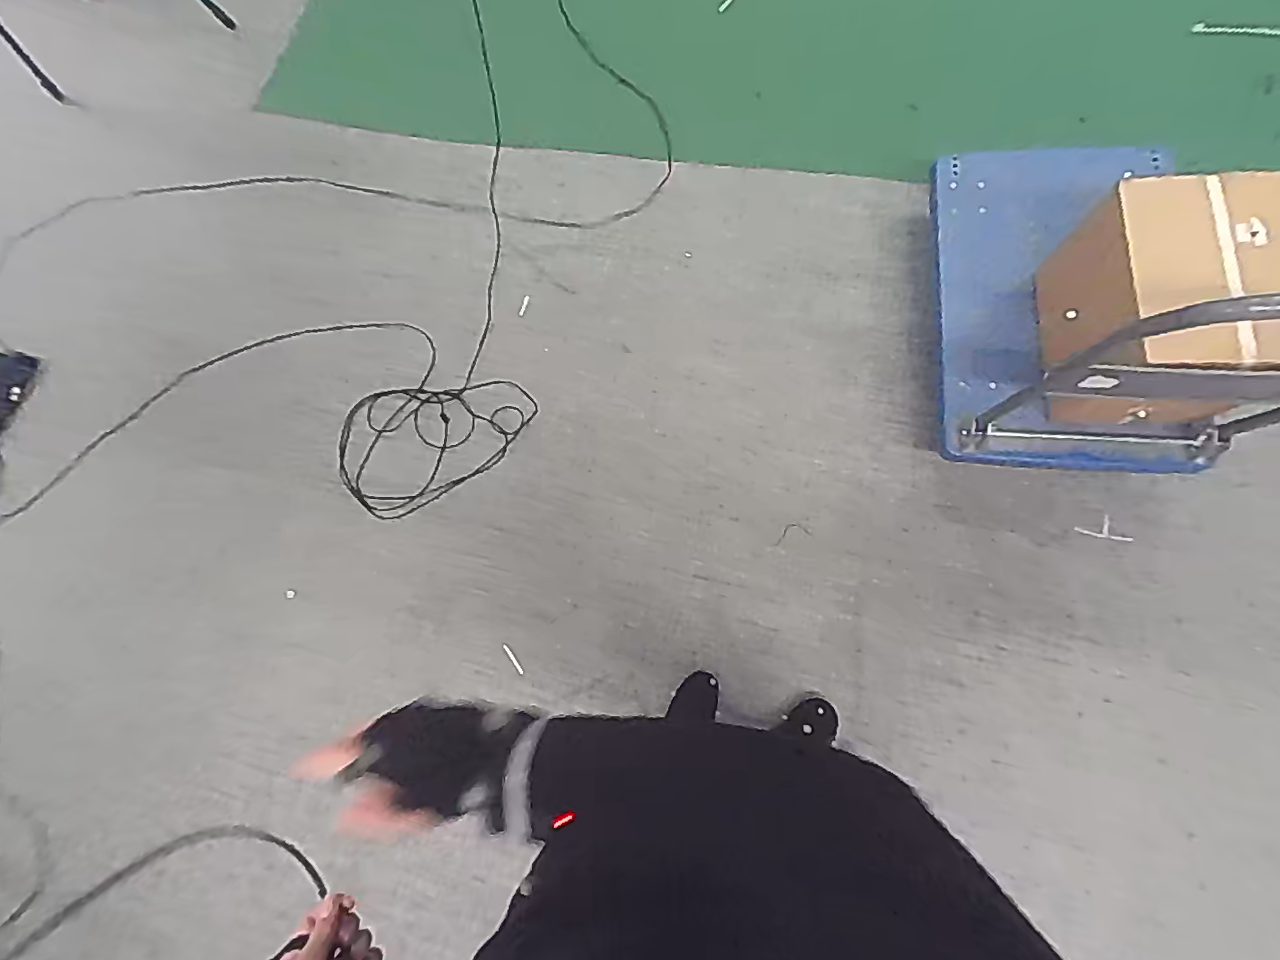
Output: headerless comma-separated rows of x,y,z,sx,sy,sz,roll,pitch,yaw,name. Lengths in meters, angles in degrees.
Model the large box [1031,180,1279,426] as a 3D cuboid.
1.102,-0.351,1.155,0.320,0.320,0.408,2,76,8,large box
